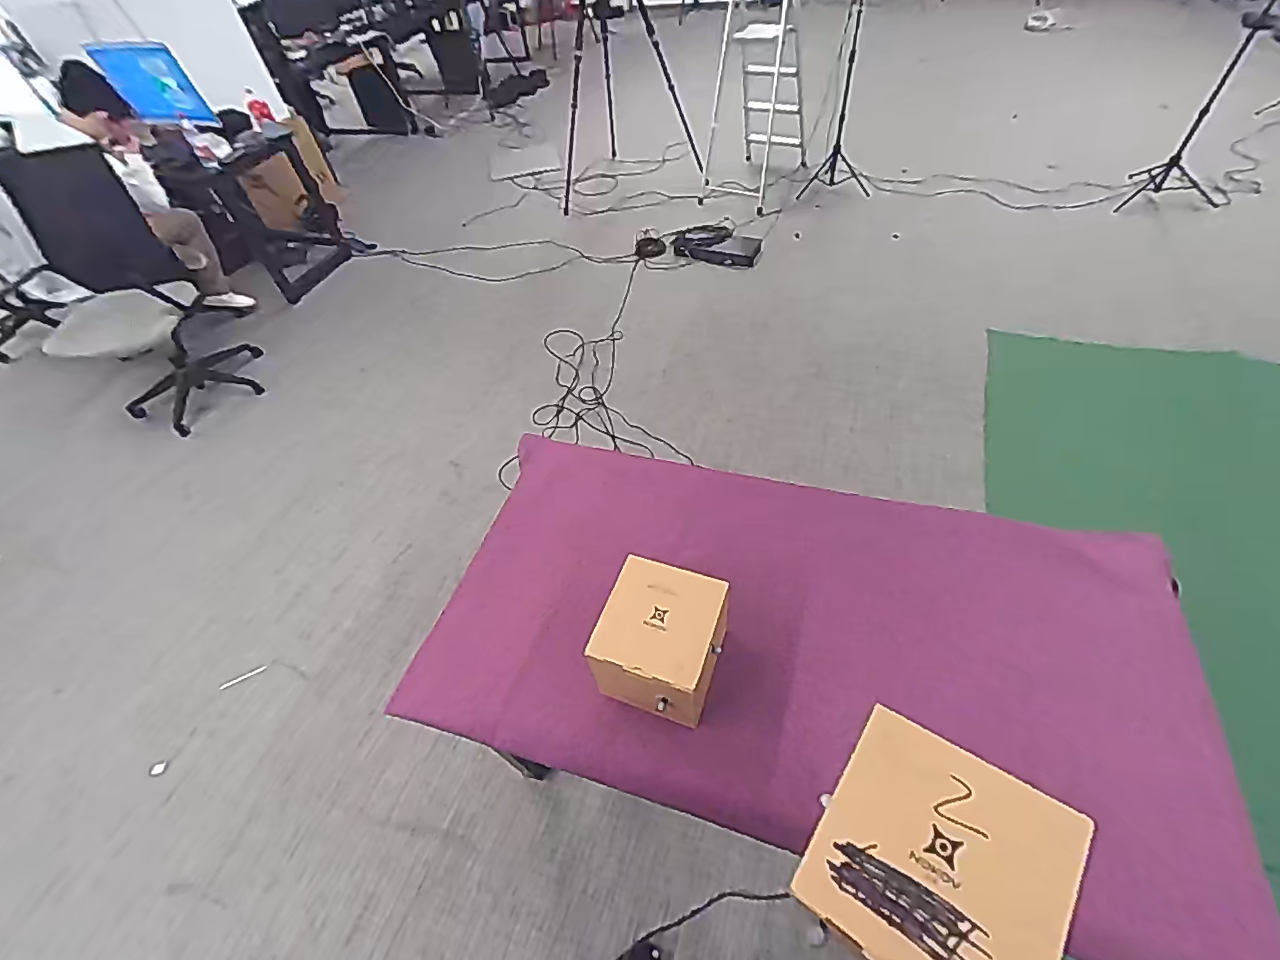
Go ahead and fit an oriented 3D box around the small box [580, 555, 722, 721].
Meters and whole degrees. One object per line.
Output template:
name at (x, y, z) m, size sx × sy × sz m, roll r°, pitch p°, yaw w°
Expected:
small box at (0.027, 0.253, 0.856) m, size 0.168 × 0.176 × 0.179 m, roll 15°, pitch 53°, yaw 17°
